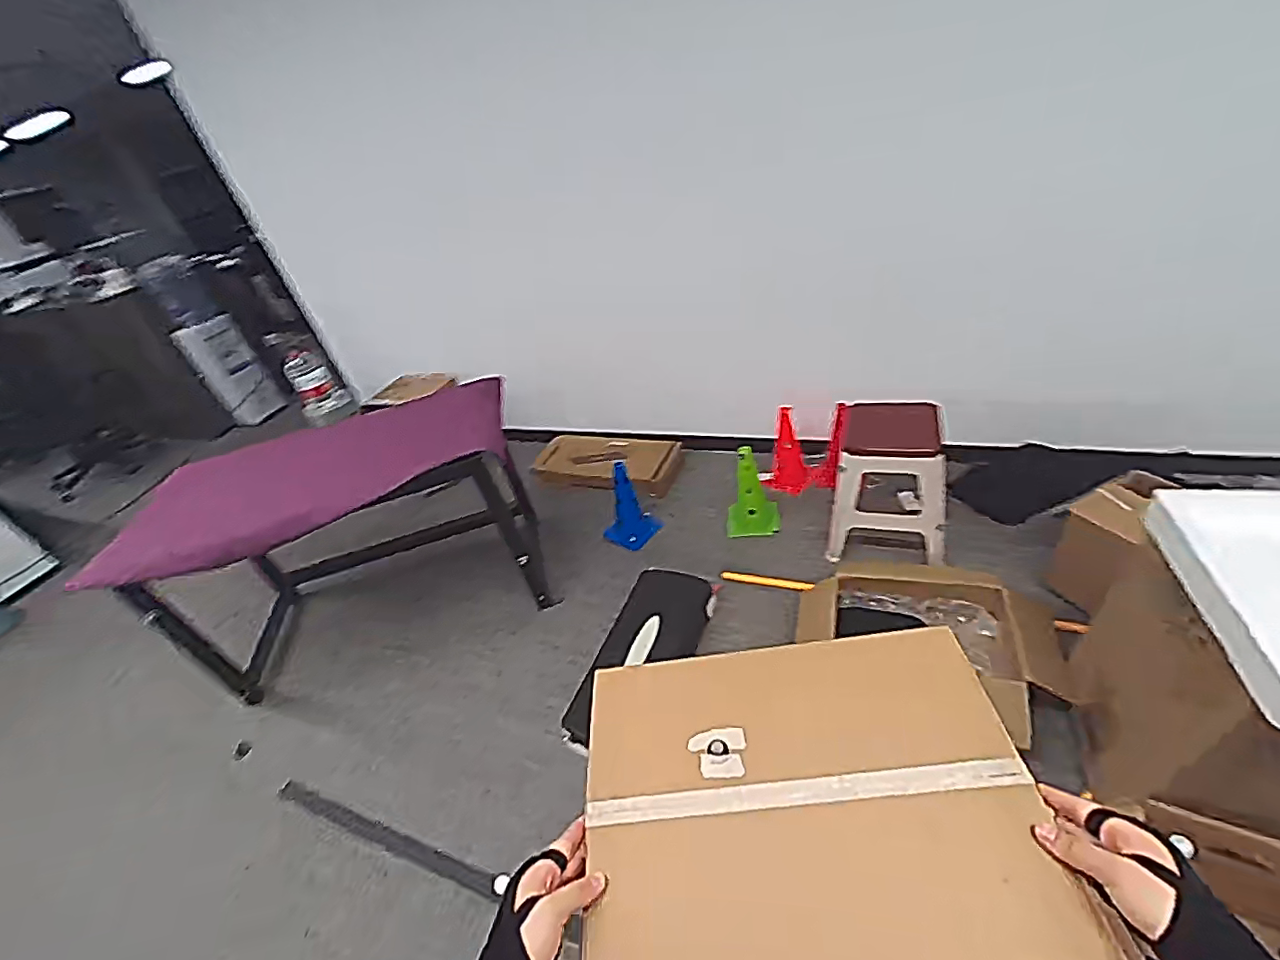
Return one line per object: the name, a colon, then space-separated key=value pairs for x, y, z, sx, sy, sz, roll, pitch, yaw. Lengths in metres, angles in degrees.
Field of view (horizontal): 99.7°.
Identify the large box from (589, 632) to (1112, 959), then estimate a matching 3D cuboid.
large box: x=0.179 y=0.417 z=0.606 sx=0.408 sy=0.320 sz=0.320 roll=-11 pitch=38 yaw=6
